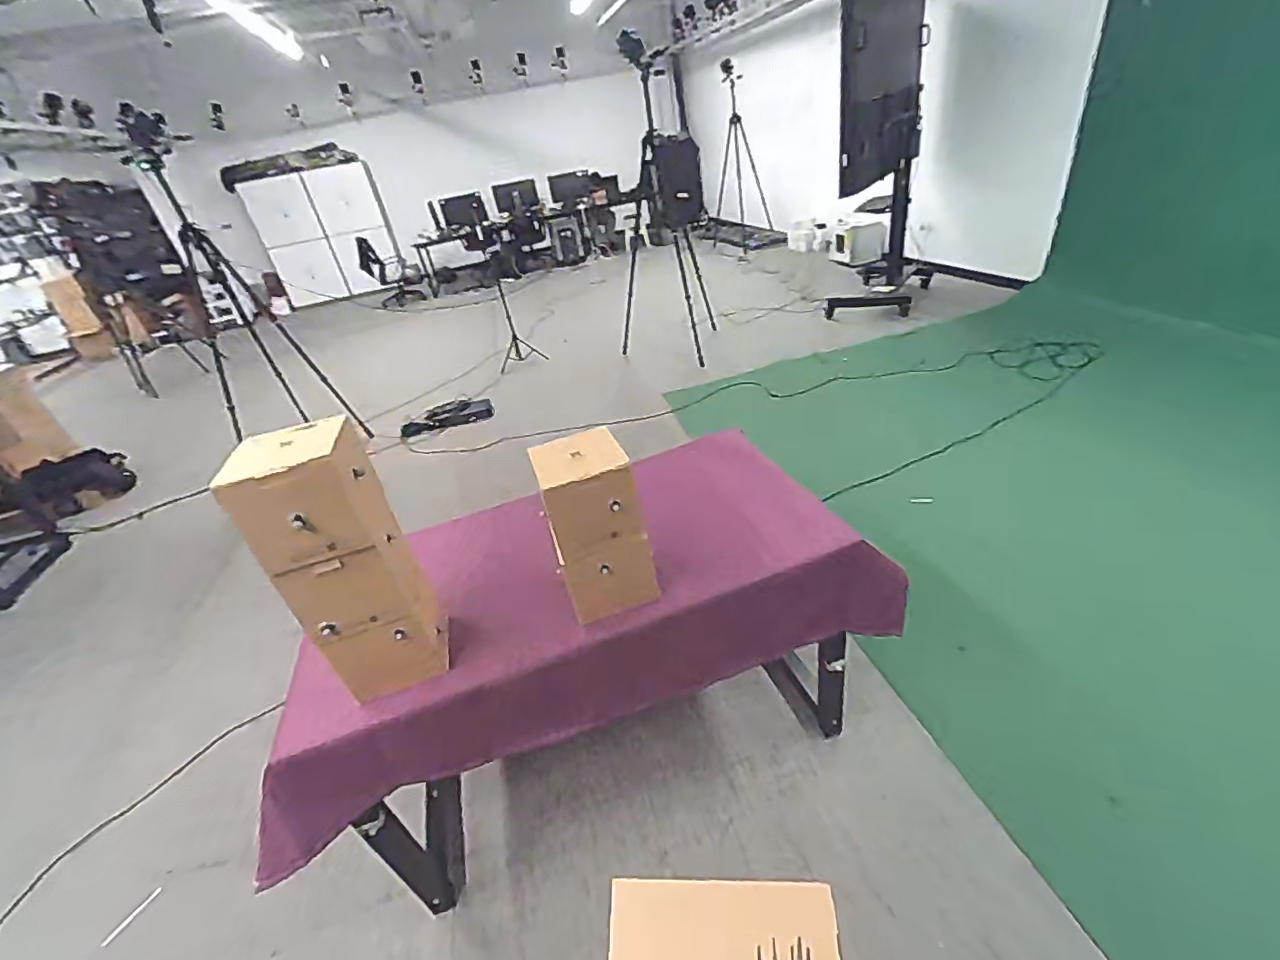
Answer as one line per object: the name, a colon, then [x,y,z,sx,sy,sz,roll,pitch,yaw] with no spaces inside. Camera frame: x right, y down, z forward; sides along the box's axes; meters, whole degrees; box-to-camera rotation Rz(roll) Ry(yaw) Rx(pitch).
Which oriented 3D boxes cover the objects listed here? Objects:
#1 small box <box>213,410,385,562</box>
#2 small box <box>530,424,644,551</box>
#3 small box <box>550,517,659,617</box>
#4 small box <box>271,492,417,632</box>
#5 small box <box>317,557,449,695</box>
small box: [-0.532,0.013,0.877,0.168,0.176,0.179,-16,33,-11]
small box: [-0.101,0.019,1.045,0.168,0.176,0.179,-17,32,-11]
small box: [-0.074,0.157,1.127,0.179,0.176,0.168,-17,33,-9]
small box: [-0.514,0.148,0.969,0.168,0.176,0.179,-17,31,-11]
small box: [-0.489,0.286,1.055,0.179,0.176,0.168,-17,33,-11]
